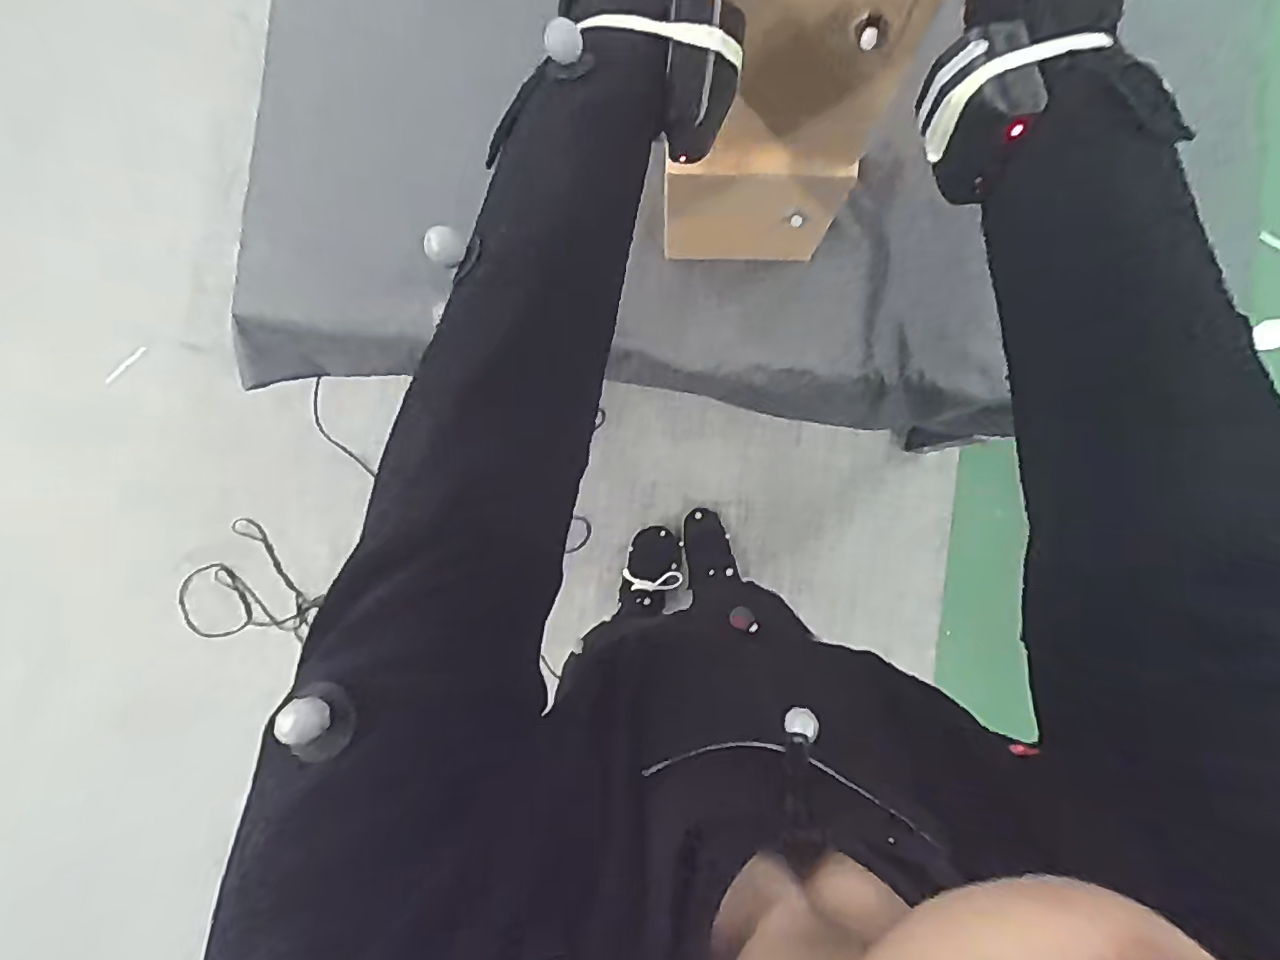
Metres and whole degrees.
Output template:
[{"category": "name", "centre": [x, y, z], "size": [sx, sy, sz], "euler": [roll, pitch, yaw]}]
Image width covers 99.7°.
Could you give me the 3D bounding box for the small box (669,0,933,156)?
[{"category": "small box", "centre": [0.114, -0.379, 0.411], "size": [0.179, 0.176, 0.168], "euler": [4, 87, 2]}]
